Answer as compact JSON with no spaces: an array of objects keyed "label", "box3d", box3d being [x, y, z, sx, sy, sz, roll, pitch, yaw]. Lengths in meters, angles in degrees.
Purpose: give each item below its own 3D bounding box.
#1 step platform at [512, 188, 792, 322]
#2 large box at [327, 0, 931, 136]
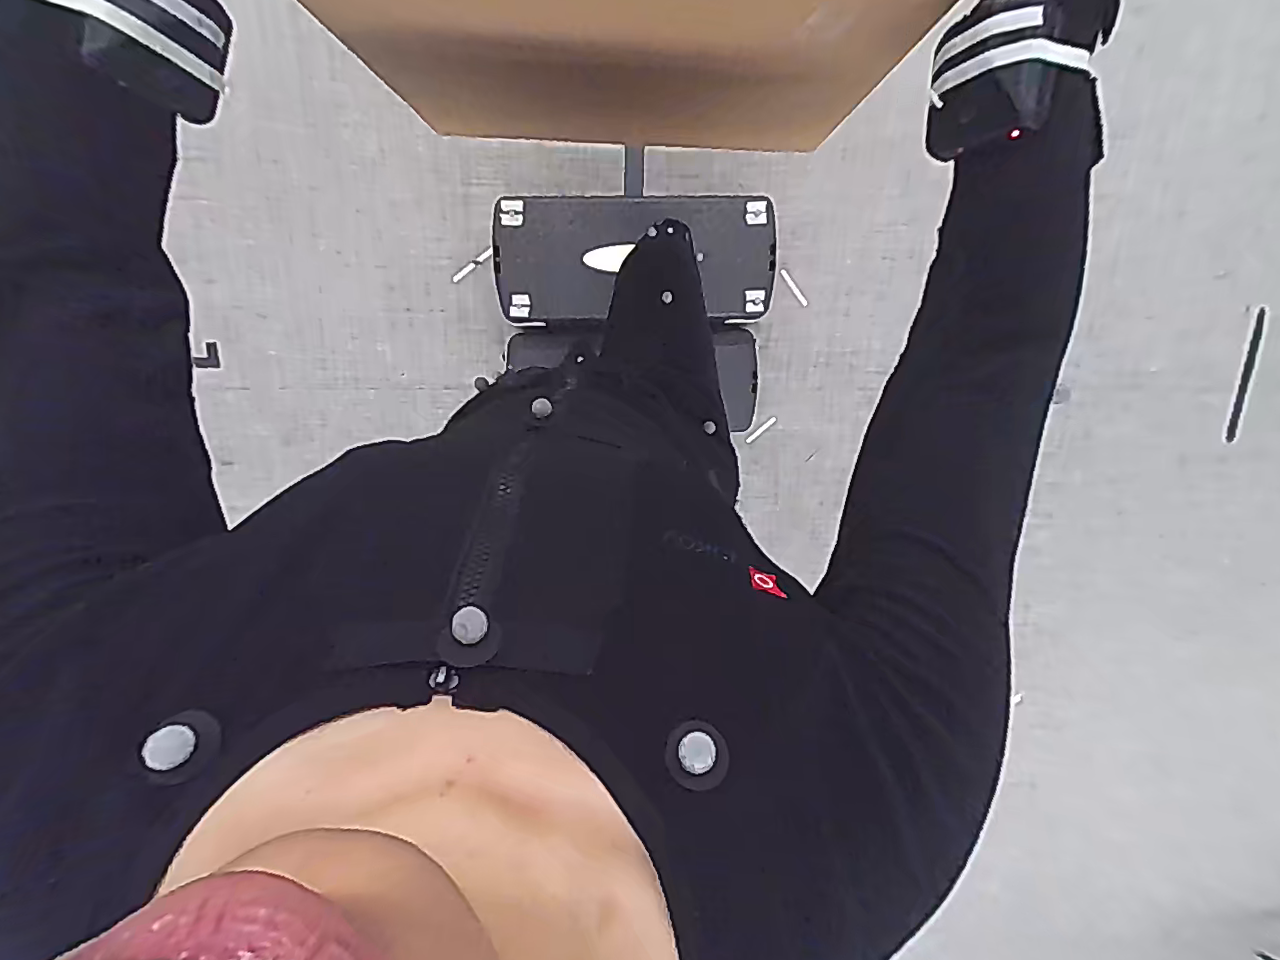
[{"label":"step platform","box3d":[0.028,-0.557,1.355,0.684,0.204,0.286,-3,104,-3]},{"label":"large box","box3d":[-0.009,-0.474,0.393,0.408,0.320,0.320,1,106,-1]}]
